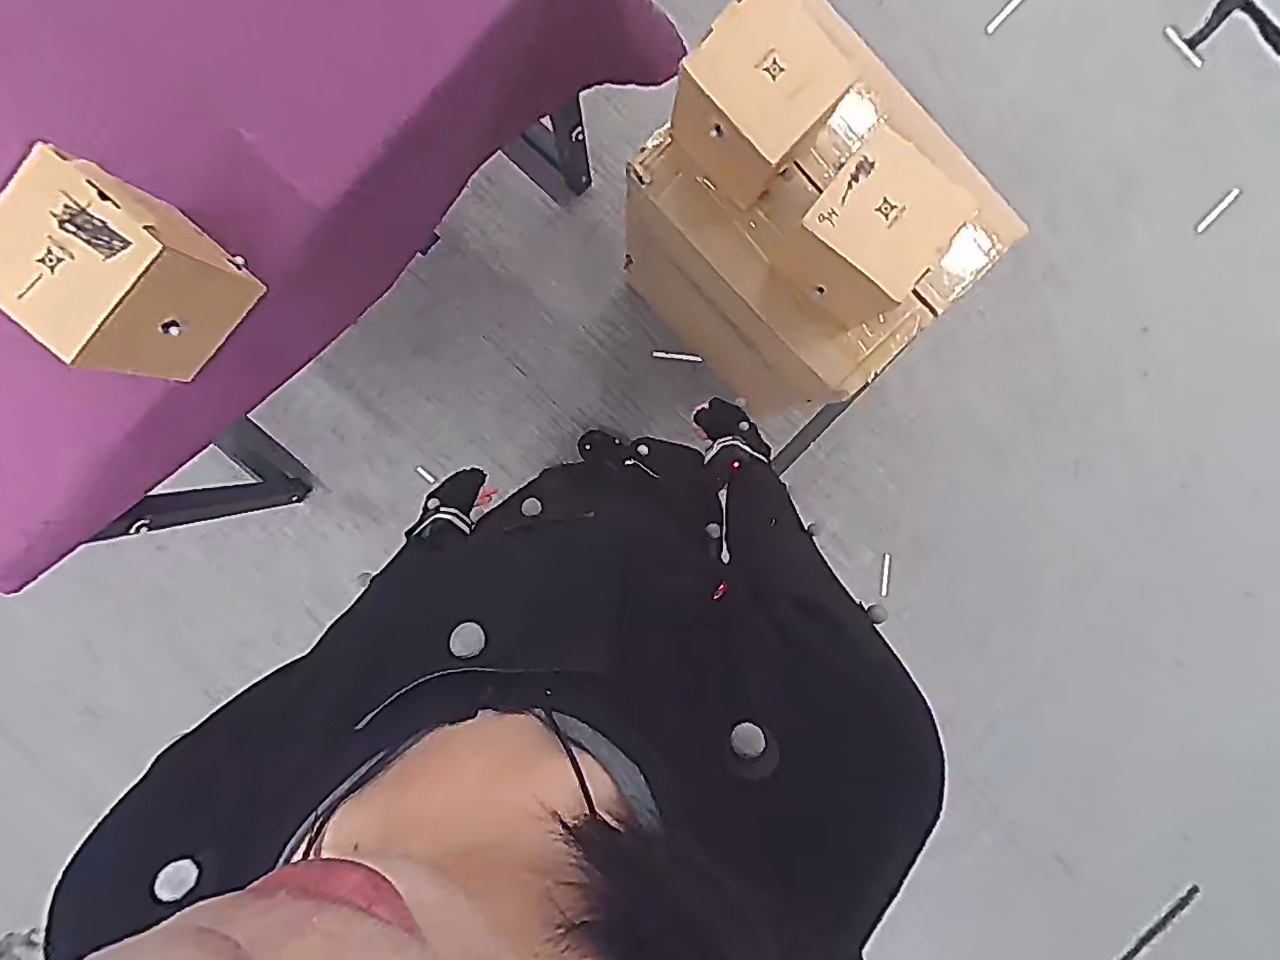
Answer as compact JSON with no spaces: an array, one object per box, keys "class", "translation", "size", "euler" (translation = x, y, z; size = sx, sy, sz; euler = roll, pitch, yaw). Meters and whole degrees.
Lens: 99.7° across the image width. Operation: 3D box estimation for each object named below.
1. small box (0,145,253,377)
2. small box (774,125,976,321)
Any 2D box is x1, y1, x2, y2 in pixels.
[{"class":"small box","translation":[-0.631,-0.250,0.667],"size":[0.168,0.176,0.179],"euler":[42,92,-3]},{"class":"small box","translation":[0.326,-0.354,0.790],"size":[0.179,0.176,0.168],"euler":[38,93,-3]}]
